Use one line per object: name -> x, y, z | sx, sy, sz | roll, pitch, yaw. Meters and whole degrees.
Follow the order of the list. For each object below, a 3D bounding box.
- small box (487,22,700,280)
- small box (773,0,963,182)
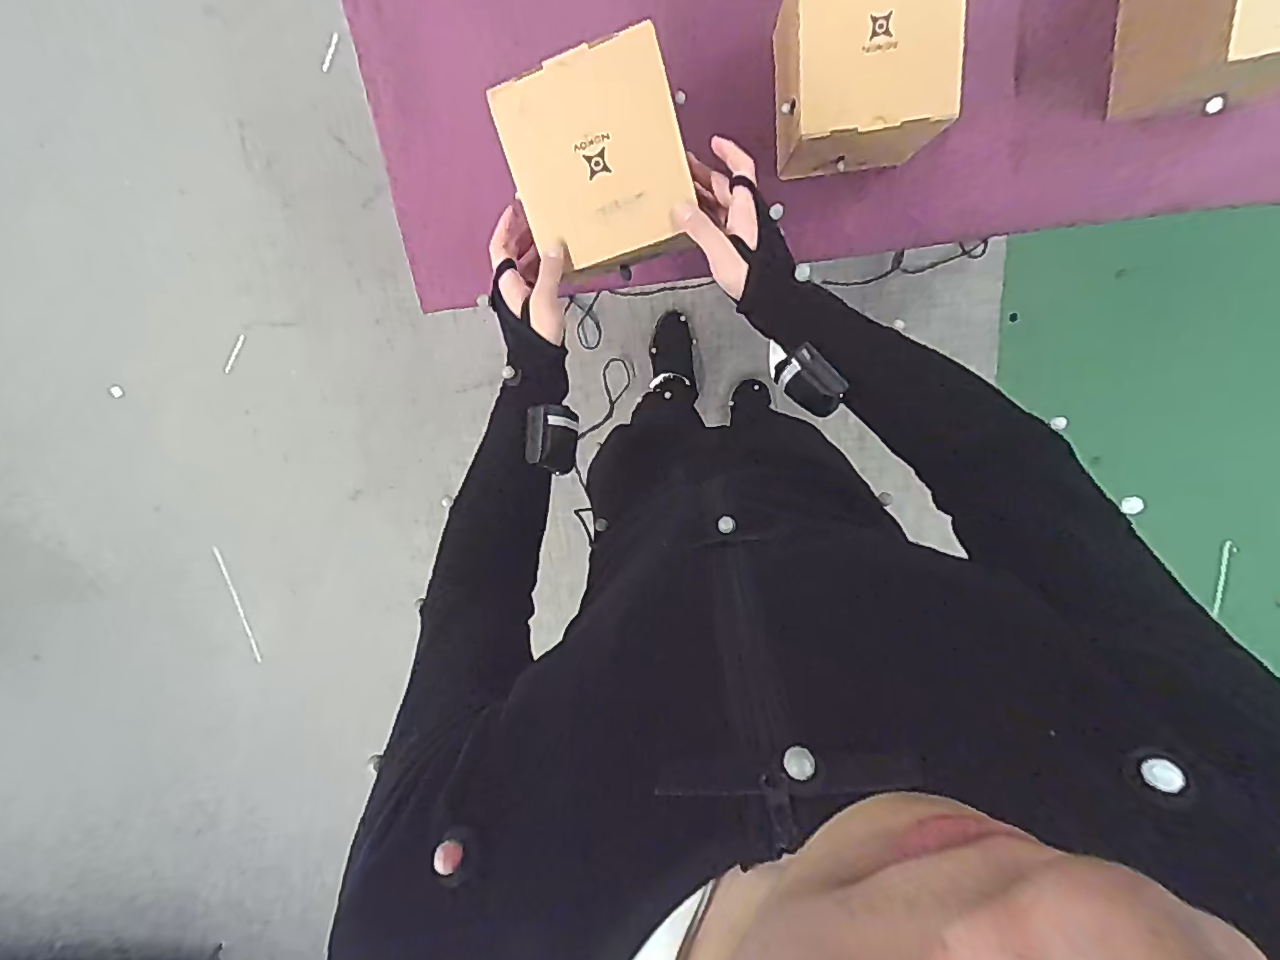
small box -> -0.035, -0.329, 0.584 | 0.168, 0.176, 0.179 | -14, 107, 11
small box -> 0.253, -0.476, 0.636 | 0.168, 0.176, 0.179 | -4, 106, 6
